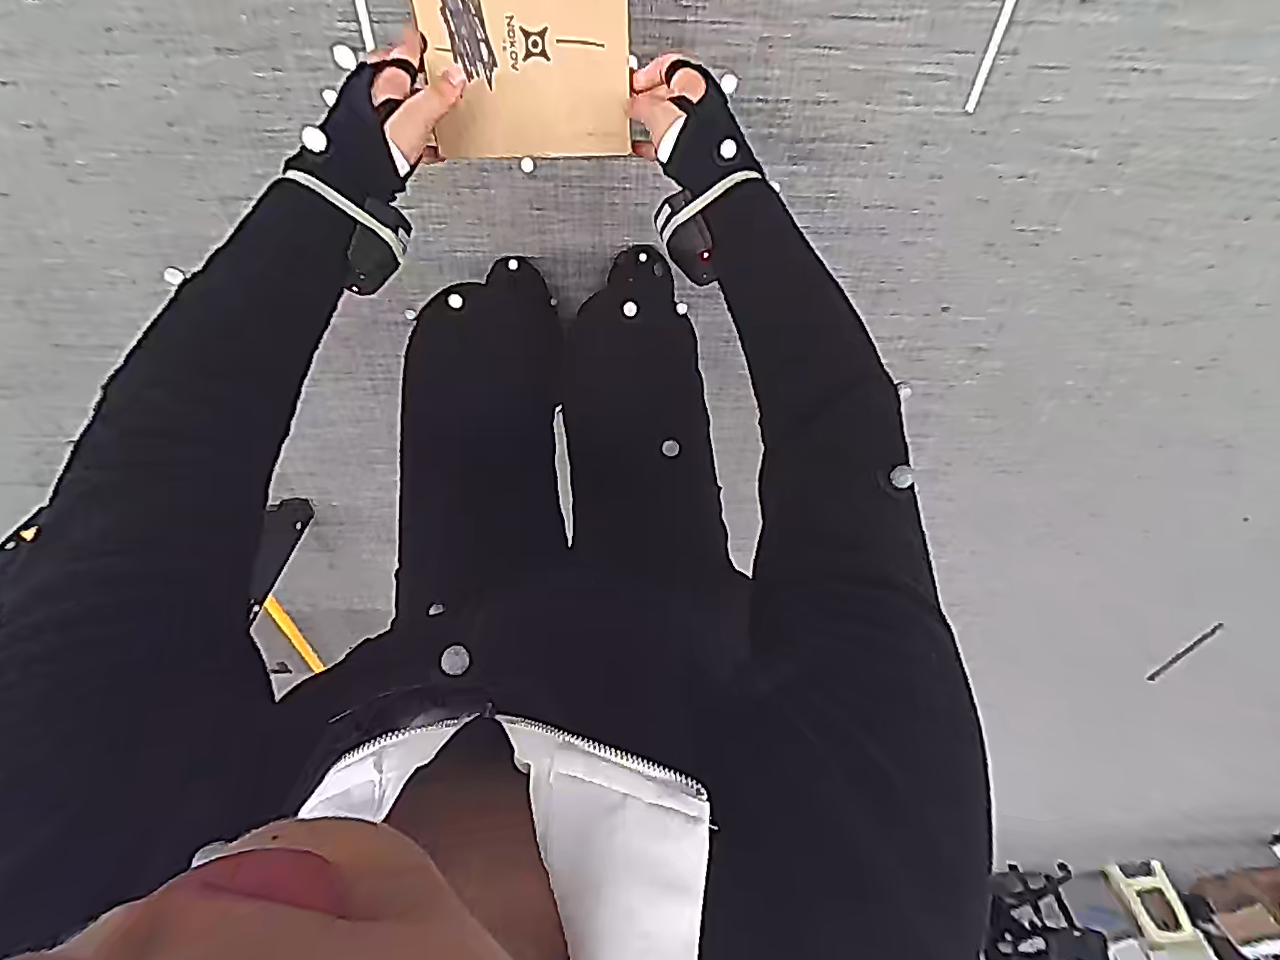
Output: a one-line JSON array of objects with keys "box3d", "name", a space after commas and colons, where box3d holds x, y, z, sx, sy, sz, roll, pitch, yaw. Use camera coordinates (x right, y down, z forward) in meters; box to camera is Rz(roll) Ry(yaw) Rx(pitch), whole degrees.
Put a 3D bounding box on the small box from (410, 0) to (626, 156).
[{"box3d": [-0.106, -0.411, 0.523, 0.179, 0.176, 0.168, -4, 124, -5], "name": "small box"}]
